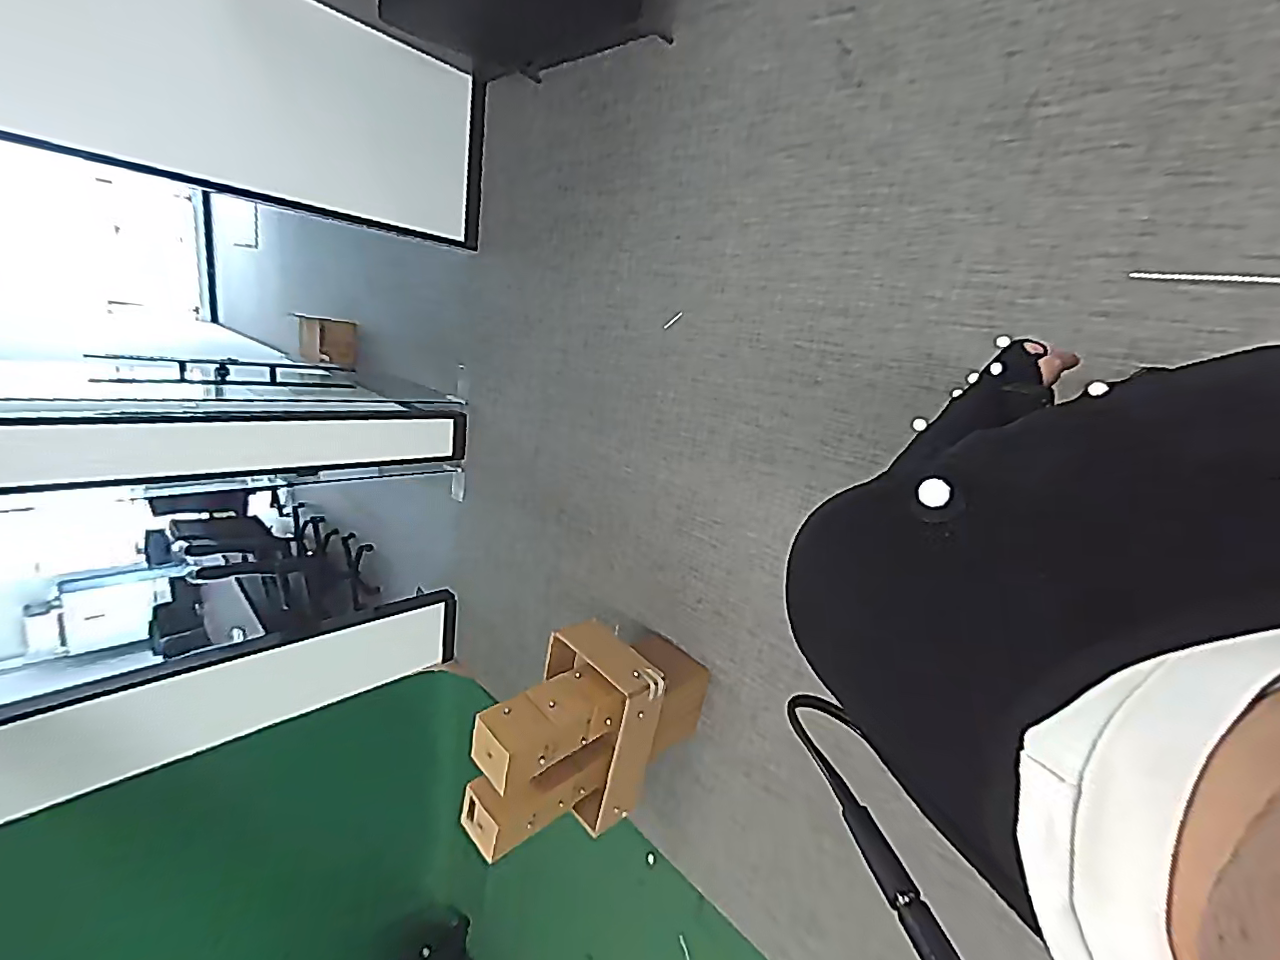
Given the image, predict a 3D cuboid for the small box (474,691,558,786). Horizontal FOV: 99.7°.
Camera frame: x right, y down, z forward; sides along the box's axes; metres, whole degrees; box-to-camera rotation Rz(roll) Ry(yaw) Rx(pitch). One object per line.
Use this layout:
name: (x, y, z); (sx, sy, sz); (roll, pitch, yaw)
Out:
small box: (-0.376, 0.769, 1.637); (0.179, 0.176, 0.168); (28, 115, 37)

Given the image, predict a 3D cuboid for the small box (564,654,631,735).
small box: (-0.155, 0.733, 1.876); (0.179, 0.176, 0.168); (28, 115, 38)

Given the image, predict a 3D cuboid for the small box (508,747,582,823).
small box: (-0.321, 1.006, 1.842); (0.179, 0.176, 0.168); (29, 113, 37)

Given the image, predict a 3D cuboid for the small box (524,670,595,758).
small box: (-0.268, 0.750, 1.758); (0.179, 0.176, 0.168); (28, 114, 38)
